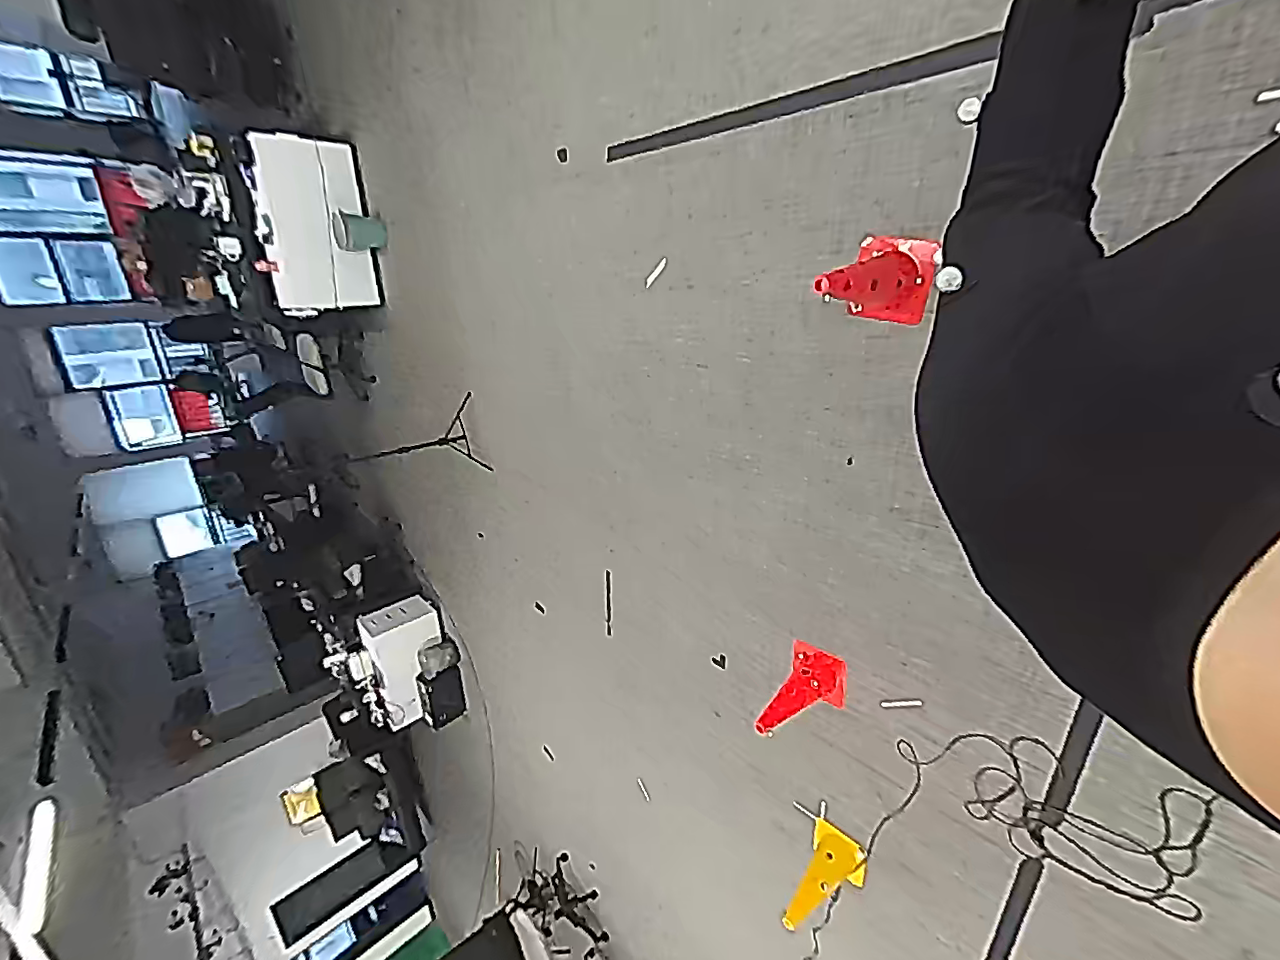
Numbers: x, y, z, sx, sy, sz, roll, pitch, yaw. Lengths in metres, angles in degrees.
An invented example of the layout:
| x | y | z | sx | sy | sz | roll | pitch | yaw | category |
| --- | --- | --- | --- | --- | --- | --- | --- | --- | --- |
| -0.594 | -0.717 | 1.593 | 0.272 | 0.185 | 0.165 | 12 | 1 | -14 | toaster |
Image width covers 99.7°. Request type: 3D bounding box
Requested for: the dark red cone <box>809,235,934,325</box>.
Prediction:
| x | y | z | sx | sy | sz | roll | pitch | yaw | category |
| --- | --- | --- | --- | --- | --- | --- | --- | --- | --- |
| 0.506 | -0.463 | 1.258 | 0.201 | 0.394 | 0.202 | 25 | 123 | 39 | dark red cone |

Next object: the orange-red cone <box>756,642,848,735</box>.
| x | y | z | sx | sy | sz | roll | pitch | yaw | category |
| --- | --- | --- | --- | --- | --- | --- | --- | --- | --- |
| 0.506 | 0.727 | 1.782 | 0.198 | 0.360 | 0.199 | 17 | 119 | 45 | orange-red cone |
